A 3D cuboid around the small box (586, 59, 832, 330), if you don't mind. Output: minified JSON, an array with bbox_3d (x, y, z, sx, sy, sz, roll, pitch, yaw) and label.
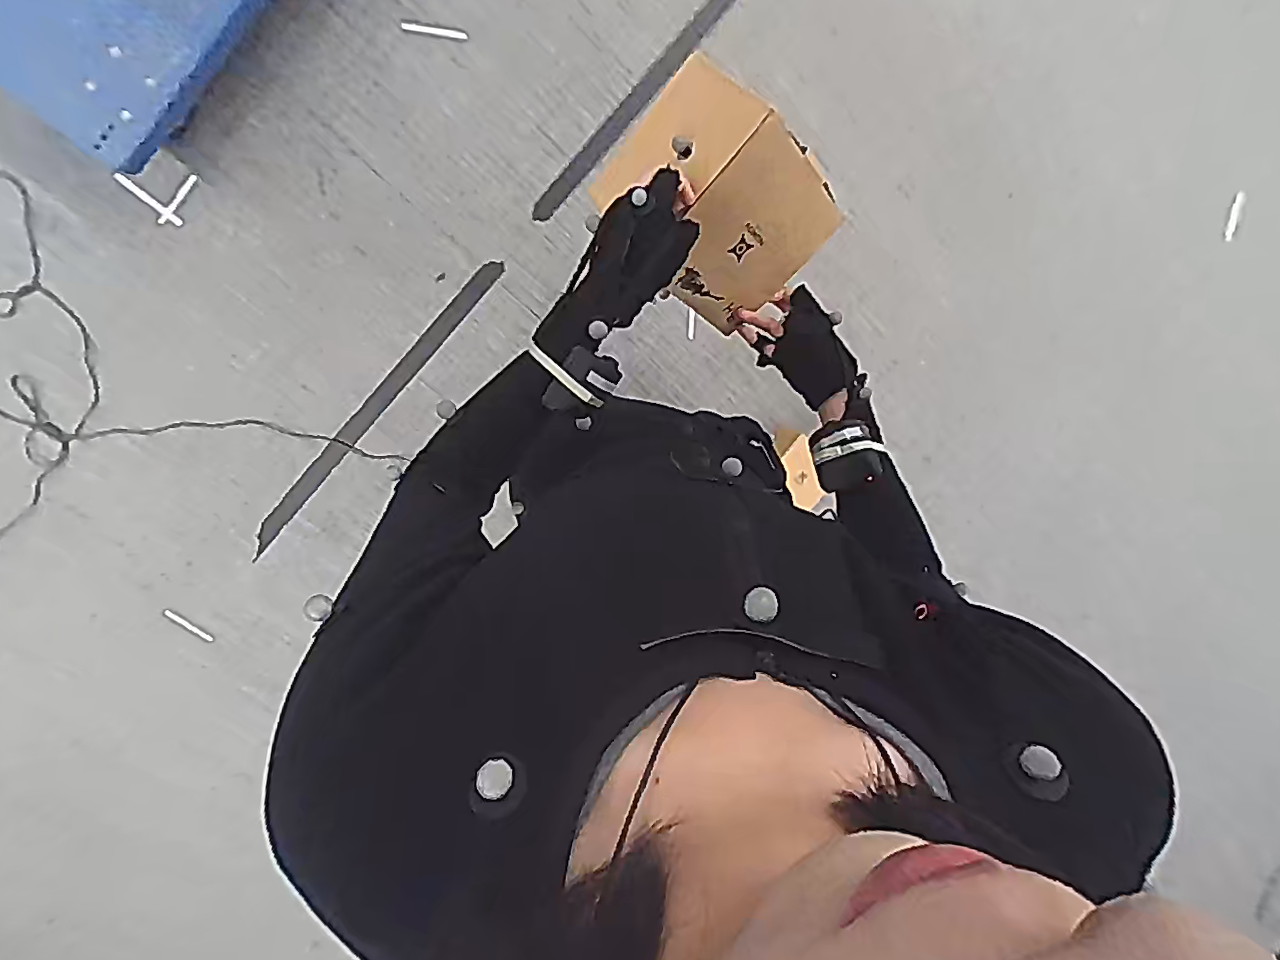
[{"bbox_3d":[0.067,-0.308,0.595,0.179,0.176,0.168,-45,141,22],"label":"small box"}]

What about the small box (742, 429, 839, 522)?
[{"bbox_3d":[0.404,-0.019,1.497,0.168,0.176,0.179,38,96,-15],"label":"small box"}]
